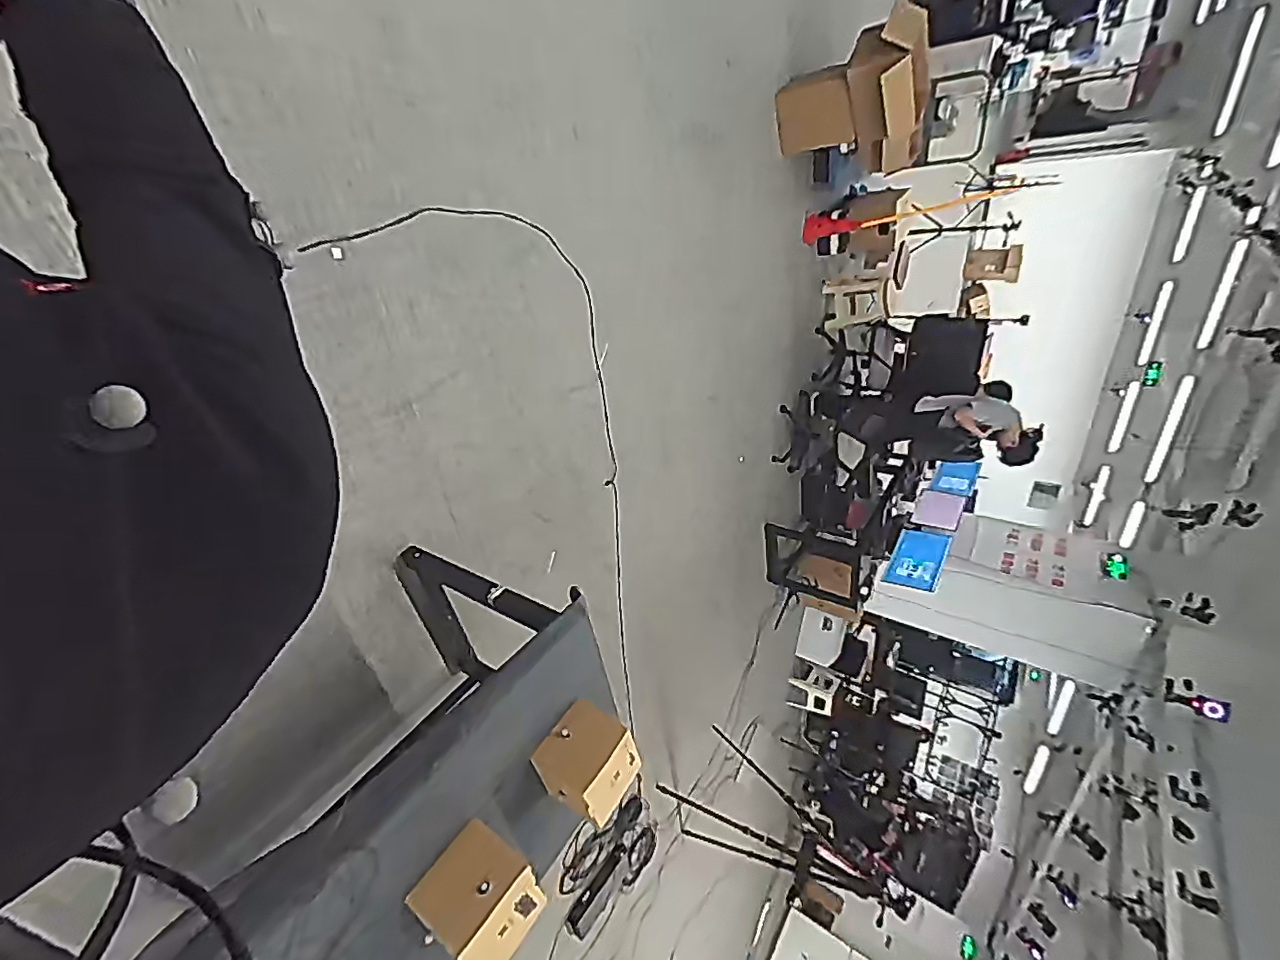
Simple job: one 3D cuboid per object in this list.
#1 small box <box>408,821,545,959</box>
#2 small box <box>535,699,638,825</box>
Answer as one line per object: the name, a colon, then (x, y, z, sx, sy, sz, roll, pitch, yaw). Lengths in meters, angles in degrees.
small box: (-0.323, 0.834, 1.081, 0.179, 0.176, 0.168, -42, 133, -40)
small box: (-0.133, 0.672, 1.303, 0.179, 0.176, 0.168, -44, 135, -38)
